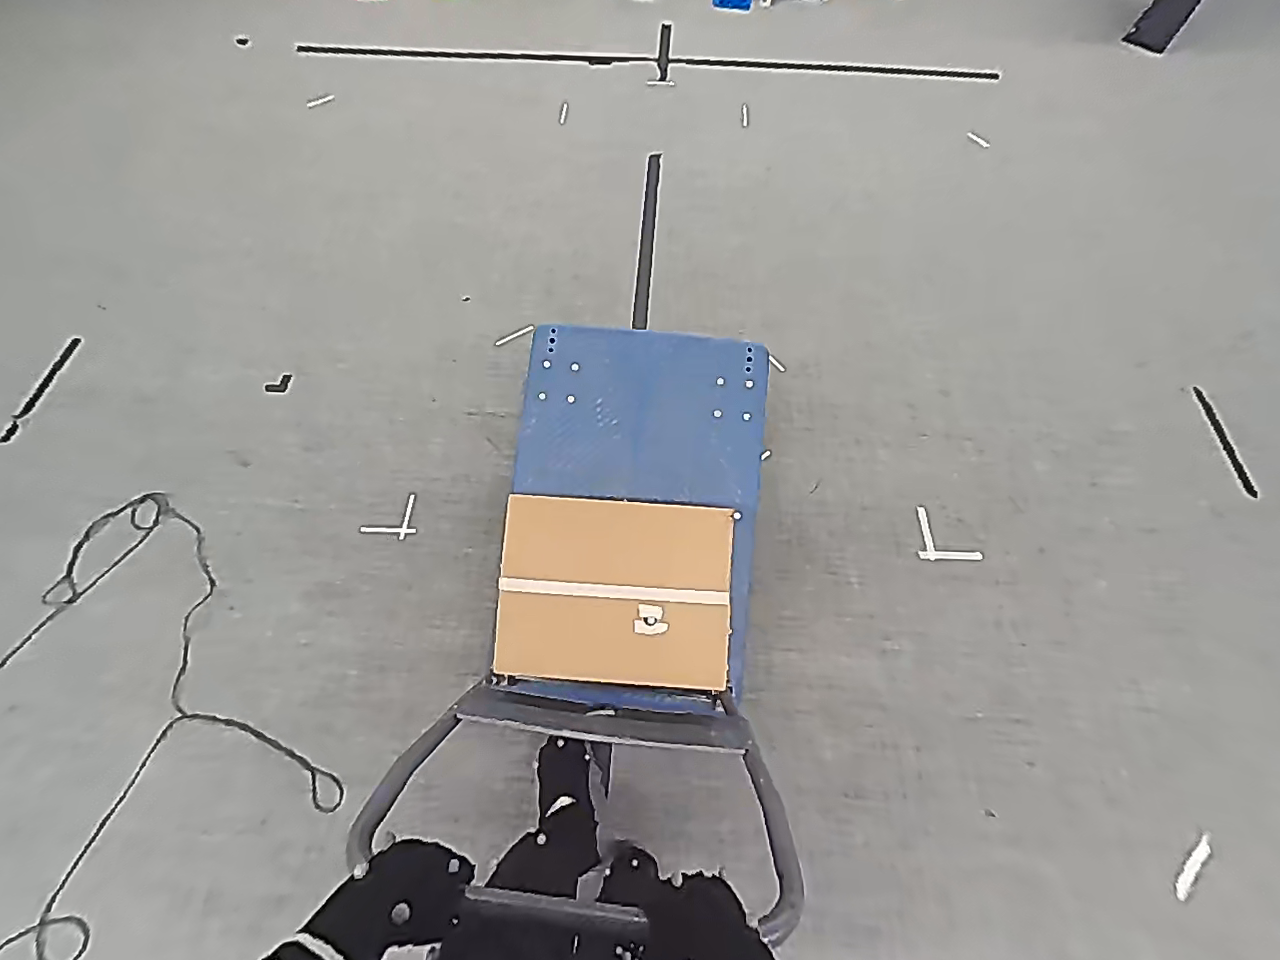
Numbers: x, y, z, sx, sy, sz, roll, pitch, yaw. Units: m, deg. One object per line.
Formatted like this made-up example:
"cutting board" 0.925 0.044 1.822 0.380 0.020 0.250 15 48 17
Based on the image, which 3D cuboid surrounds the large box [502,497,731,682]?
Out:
"large box" -0.041 0.213 1.116 0.408 0.320 0.320 4 84 1
